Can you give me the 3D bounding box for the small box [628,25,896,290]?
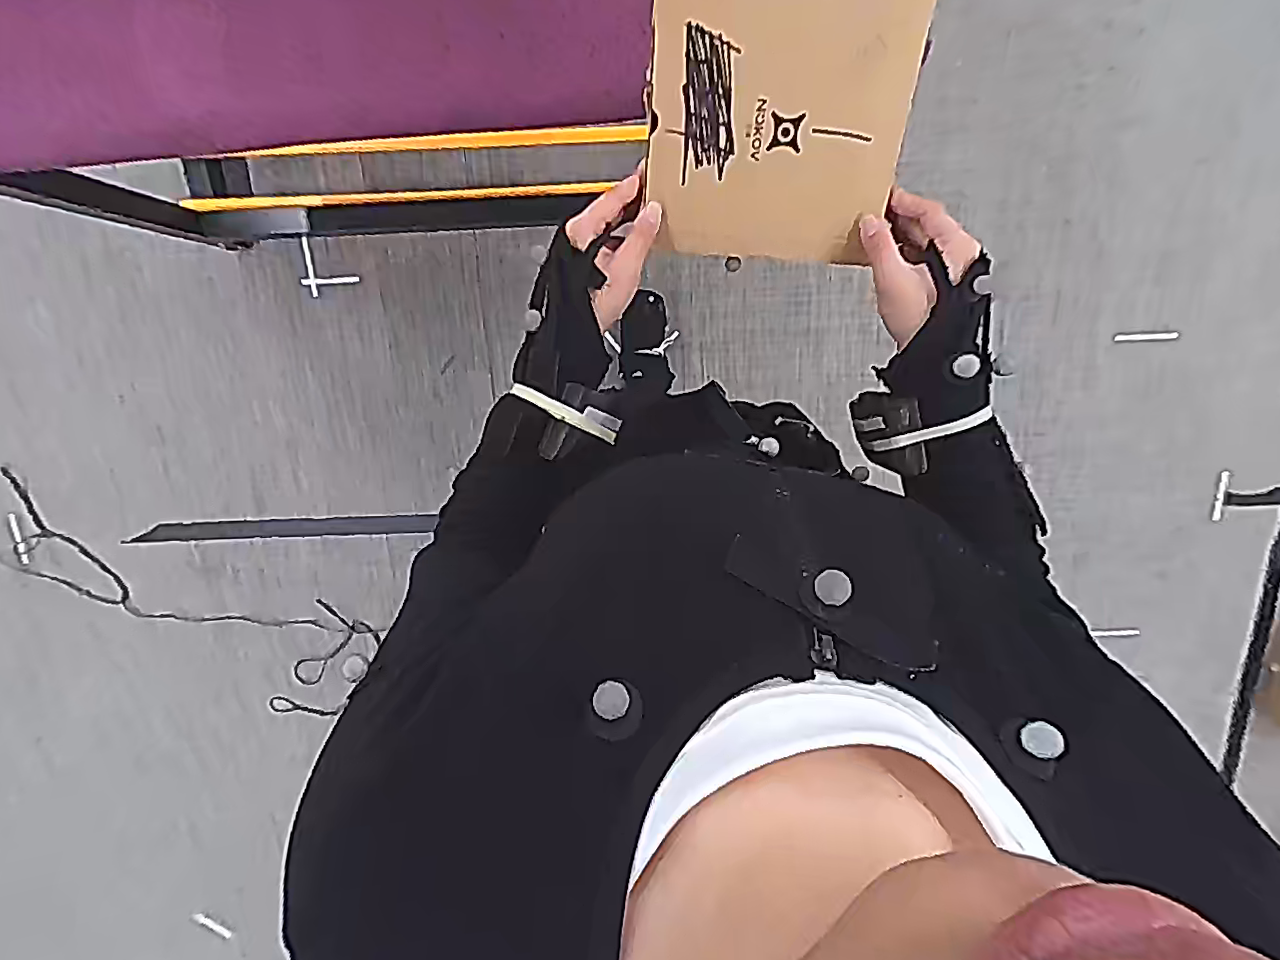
[{"bbox_3d":[0.087,-0.255,0.463,0.179,0.176,0.168,3,112,4],"label":"small box"}]
